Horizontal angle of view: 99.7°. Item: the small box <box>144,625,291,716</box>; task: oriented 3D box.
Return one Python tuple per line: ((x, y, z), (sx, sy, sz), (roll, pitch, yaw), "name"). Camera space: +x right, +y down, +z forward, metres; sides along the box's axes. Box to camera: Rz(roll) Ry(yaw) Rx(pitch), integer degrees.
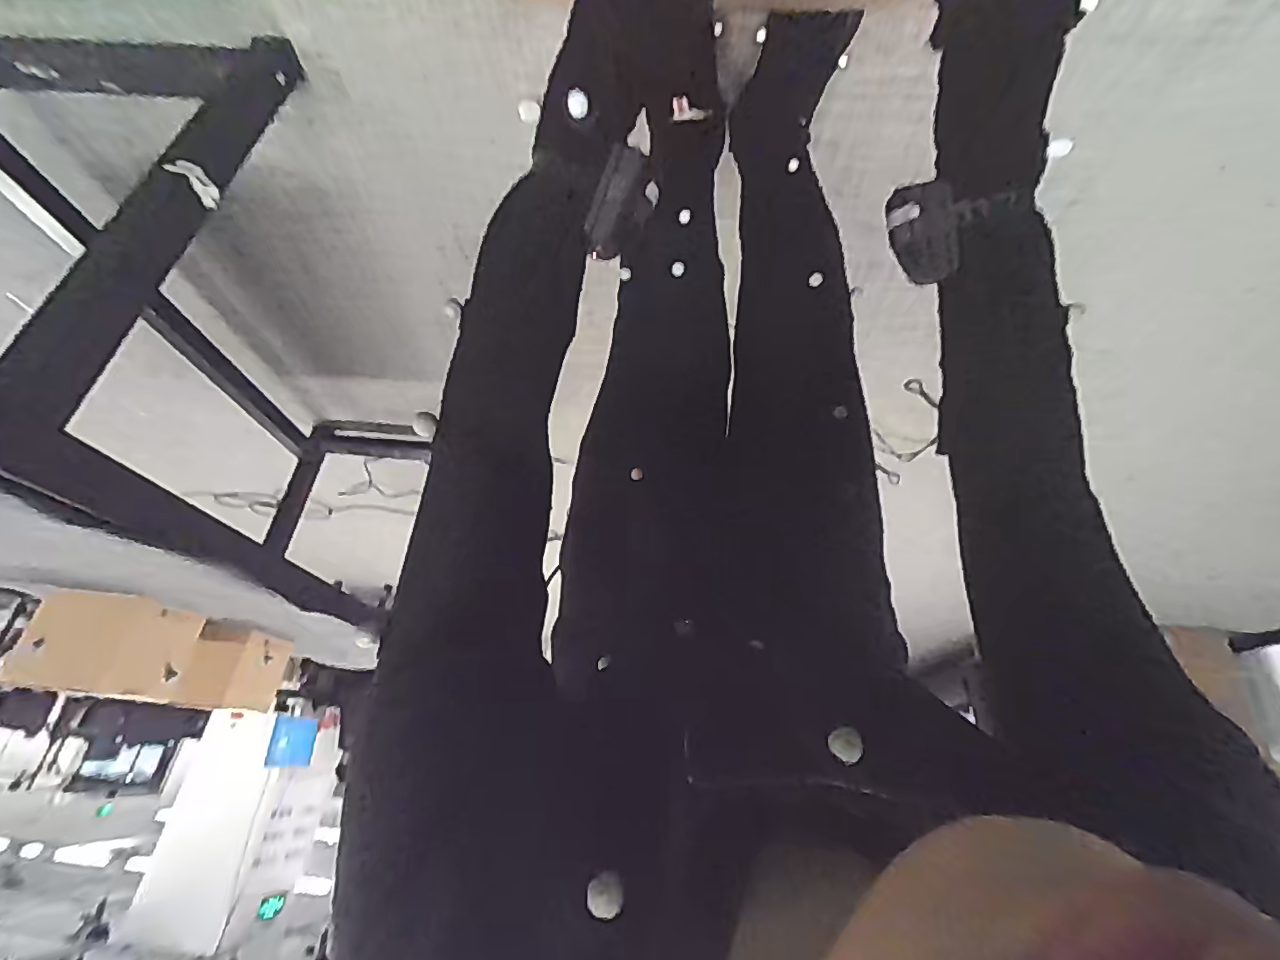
((-0.952, 0.435, 1.238), (0.179, 0.176, 0.168), (4, 153, 3), "small box")
